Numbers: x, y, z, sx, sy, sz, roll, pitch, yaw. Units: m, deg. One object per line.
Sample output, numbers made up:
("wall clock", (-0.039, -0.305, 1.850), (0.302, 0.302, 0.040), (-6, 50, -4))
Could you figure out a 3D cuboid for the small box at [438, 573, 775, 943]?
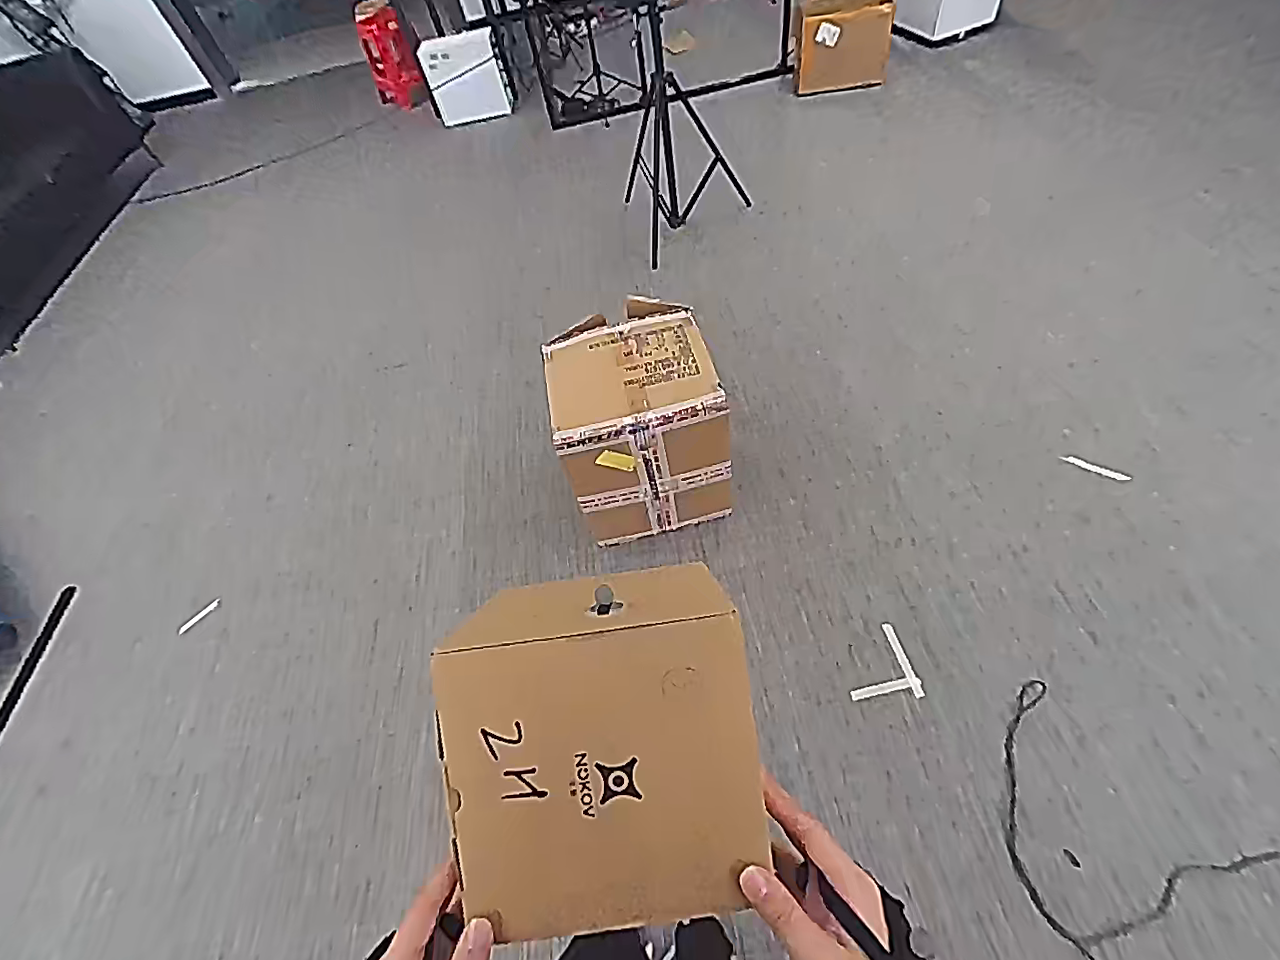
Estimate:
("small box", (-0.019, 0.168, 0.384), (0.179, 0.176, 0.168), (-8, 90, 0))
